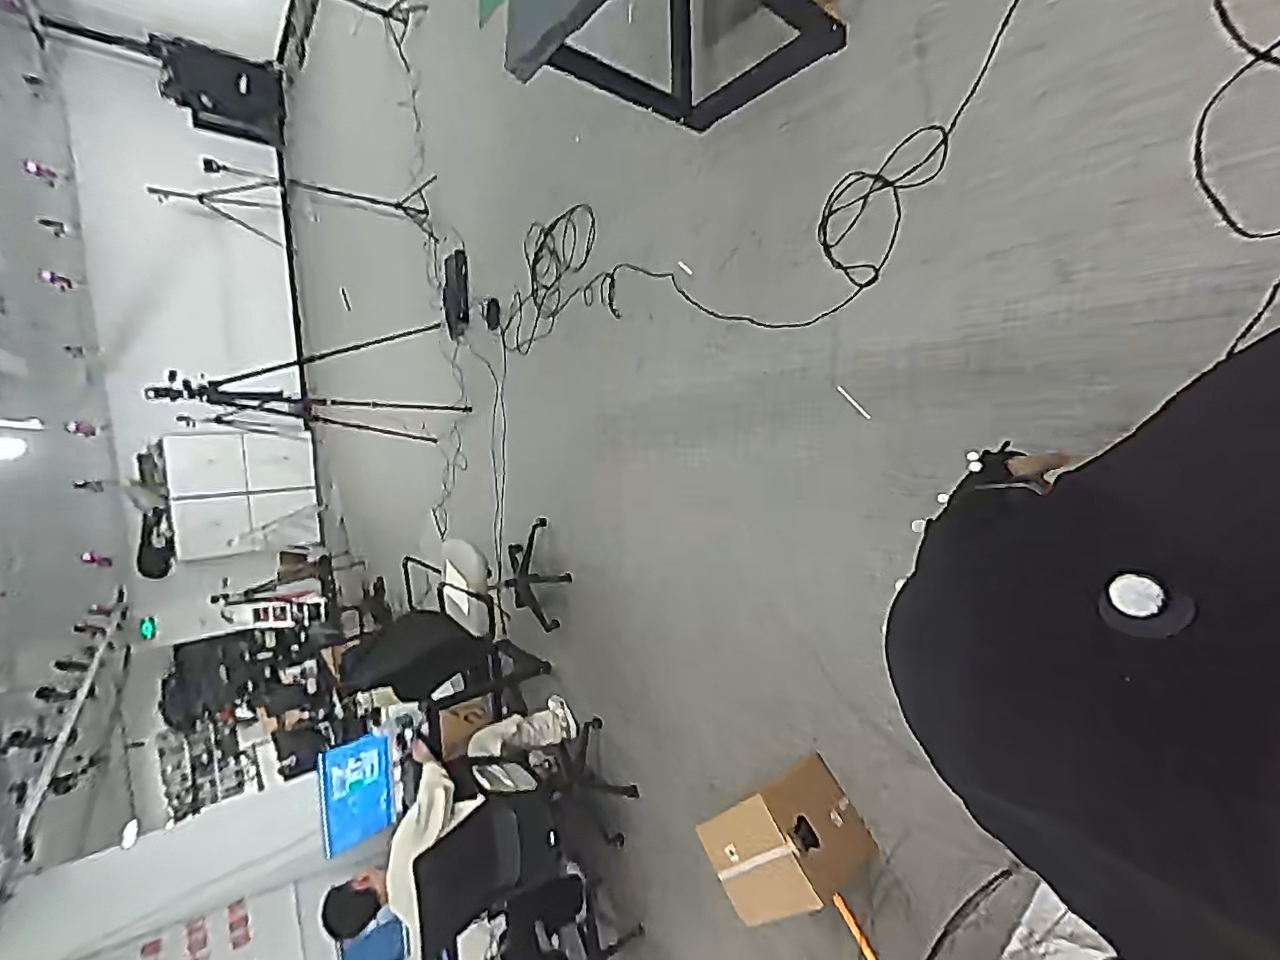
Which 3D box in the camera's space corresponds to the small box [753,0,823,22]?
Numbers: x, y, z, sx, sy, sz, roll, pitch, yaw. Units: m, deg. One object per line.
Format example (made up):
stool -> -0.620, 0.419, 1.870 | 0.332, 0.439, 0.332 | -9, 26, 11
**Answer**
small box -> 0.438, -1.452, 1.521 | 0.179, 0.176, 0.168 | 12, 105, 49
